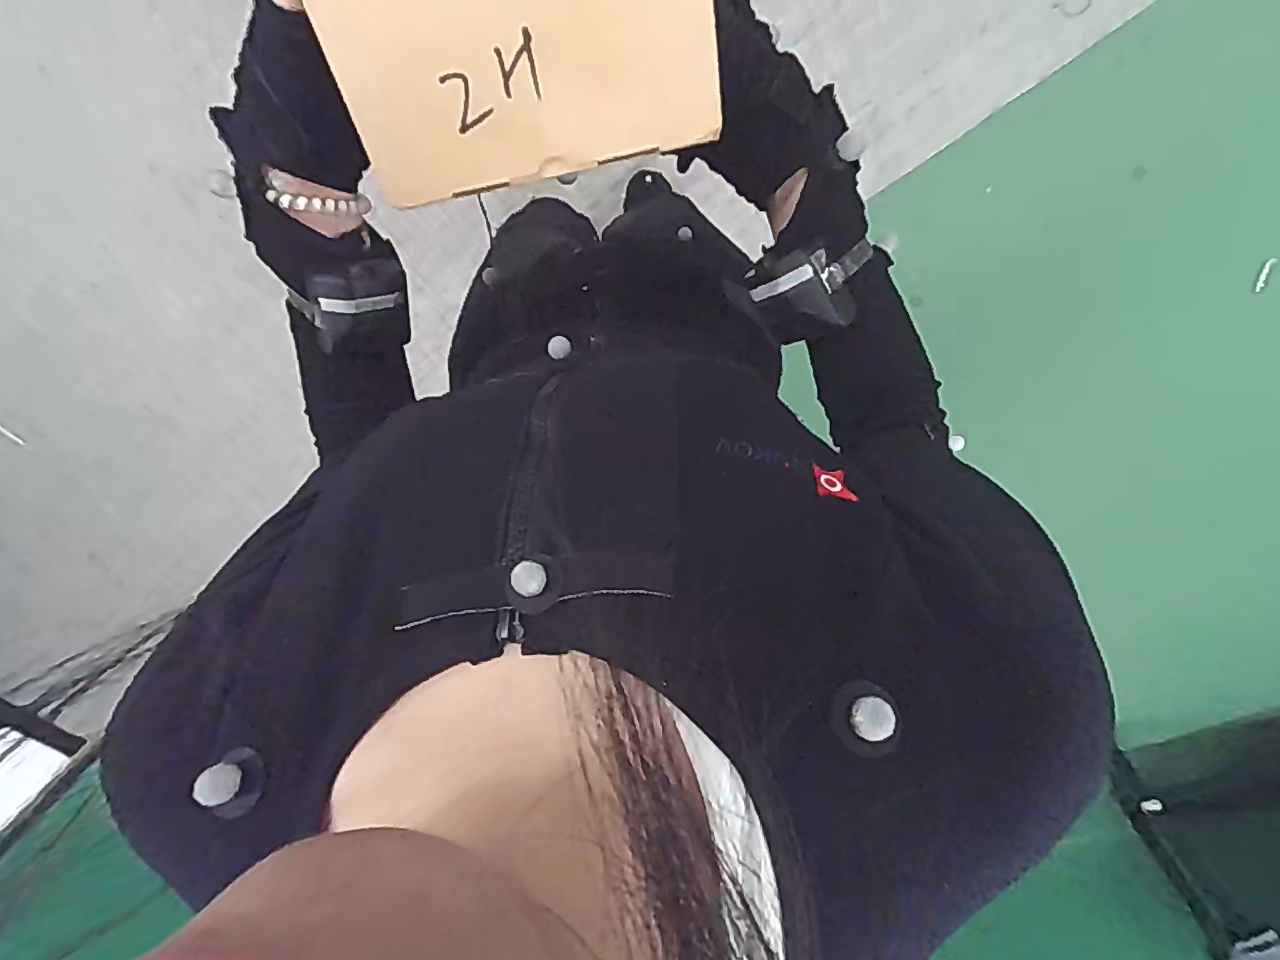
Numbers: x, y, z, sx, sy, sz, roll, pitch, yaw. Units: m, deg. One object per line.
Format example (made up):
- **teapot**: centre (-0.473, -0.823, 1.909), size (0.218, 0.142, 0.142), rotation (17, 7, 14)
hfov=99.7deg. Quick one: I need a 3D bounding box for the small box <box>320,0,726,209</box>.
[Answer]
- **small box**: centre (-0.059, -0.262, 0.279), size (0.168, 0.176, 0.179), rotation (-11, 126, 3)
